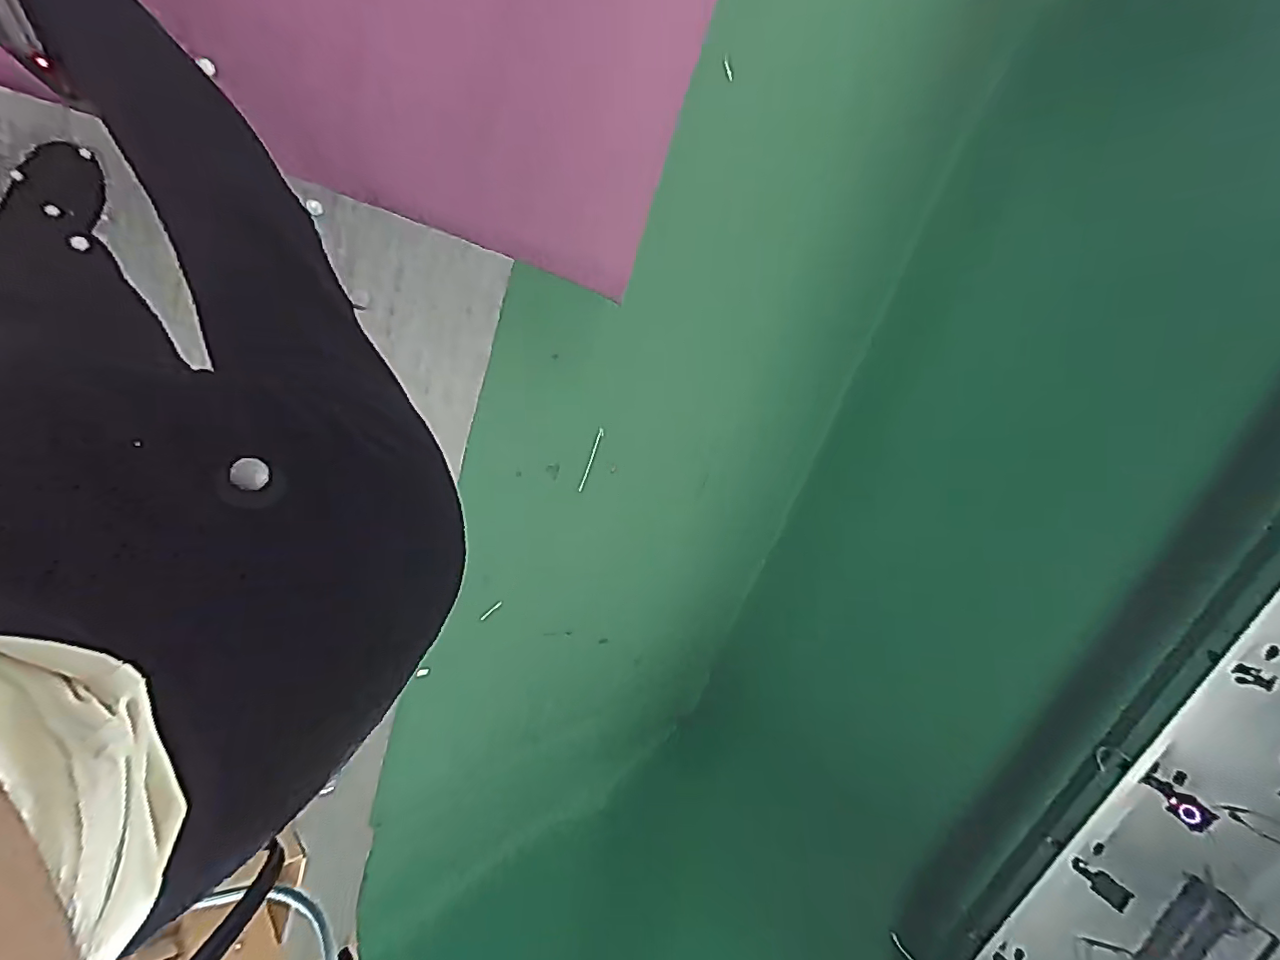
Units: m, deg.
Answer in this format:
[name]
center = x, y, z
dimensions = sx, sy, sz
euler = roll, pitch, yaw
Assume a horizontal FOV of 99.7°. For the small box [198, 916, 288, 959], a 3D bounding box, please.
[small box]
center = -1.027, 1.293, 1.394
dimensions = 0.168, 0.176, 0.179
euler = -1, 117, -51
